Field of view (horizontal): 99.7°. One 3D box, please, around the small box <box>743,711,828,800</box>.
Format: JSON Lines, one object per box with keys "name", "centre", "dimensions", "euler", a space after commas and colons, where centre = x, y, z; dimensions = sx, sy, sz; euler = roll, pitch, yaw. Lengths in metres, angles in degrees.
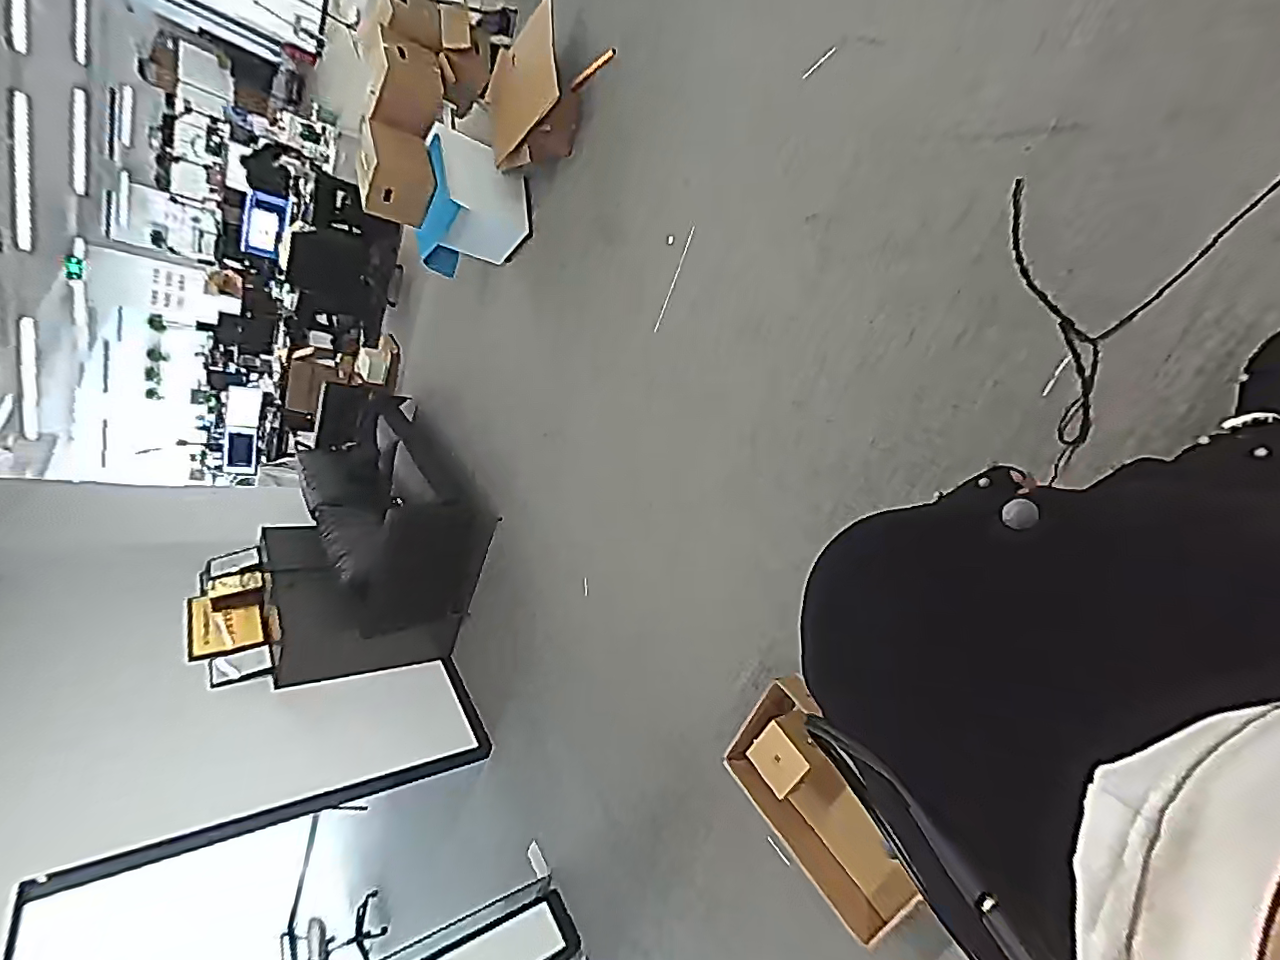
{"name": "small box", "centre": [0.470, 0.868, 1.721], "dimensions": [0.168, 0.176, 0.179], "euler": [47, 121, 39]}
